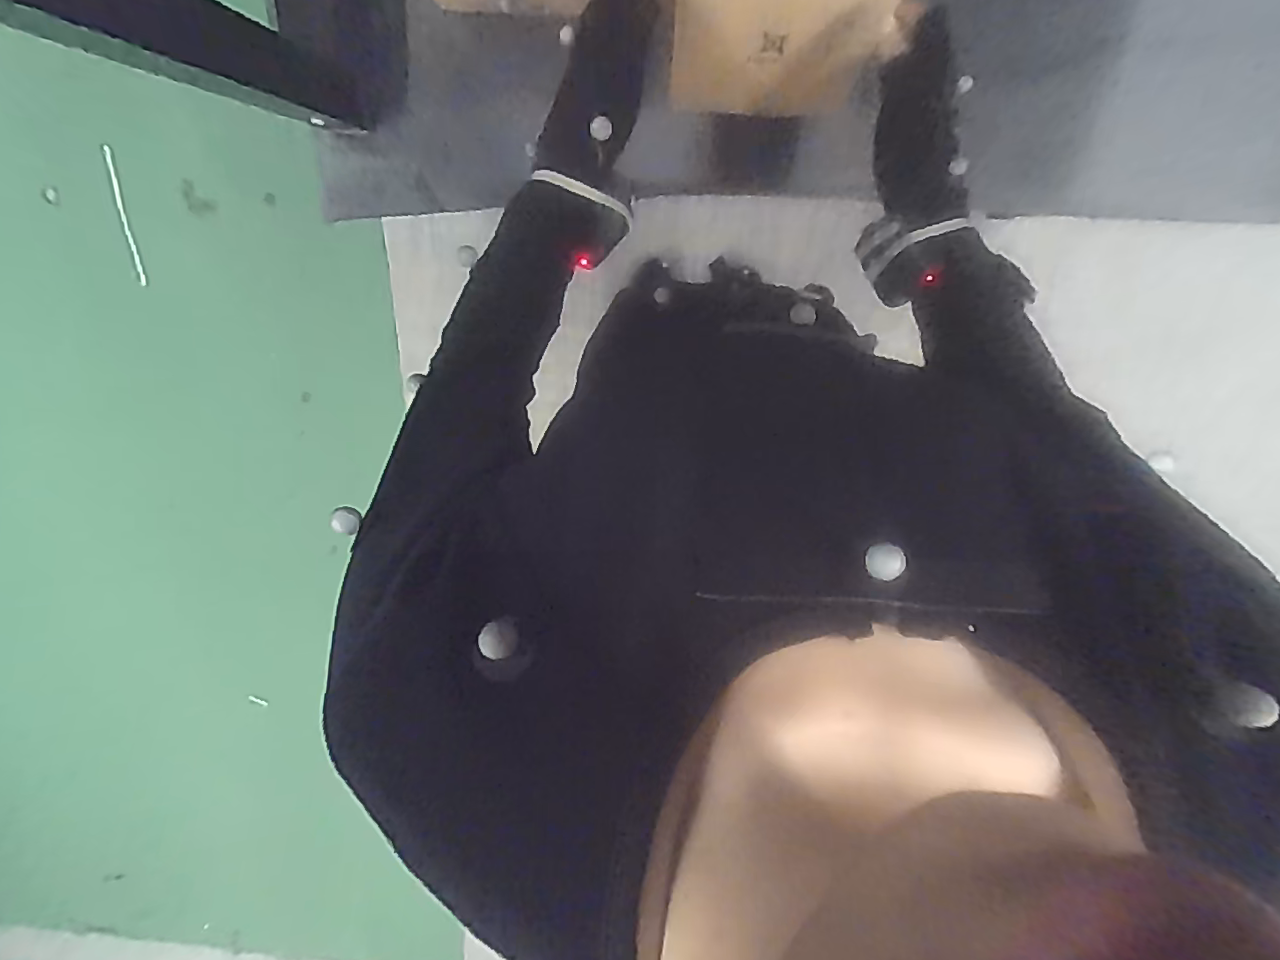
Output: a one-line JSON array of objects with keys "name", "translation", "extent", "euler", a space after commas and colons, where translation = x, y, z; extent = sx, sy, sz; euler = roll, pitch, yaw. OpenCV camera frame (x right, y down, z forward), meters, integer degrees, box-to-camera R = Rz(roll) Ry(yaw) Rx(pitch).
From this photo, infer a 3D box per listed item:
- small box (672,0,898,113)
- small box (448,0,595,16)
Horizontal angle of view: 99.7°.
[{"name": "small box", "translation": [0.114, -0.439, 0.440], "extent": [0.168, 0.179, 0.176], "euler": [4, 94, 2]}, {"name": "small box", "translation": [-0.124, -0.530, 0.446], "extent": [0.168, 0.176, 0.179], "euler": [4, 113, 2]}]
